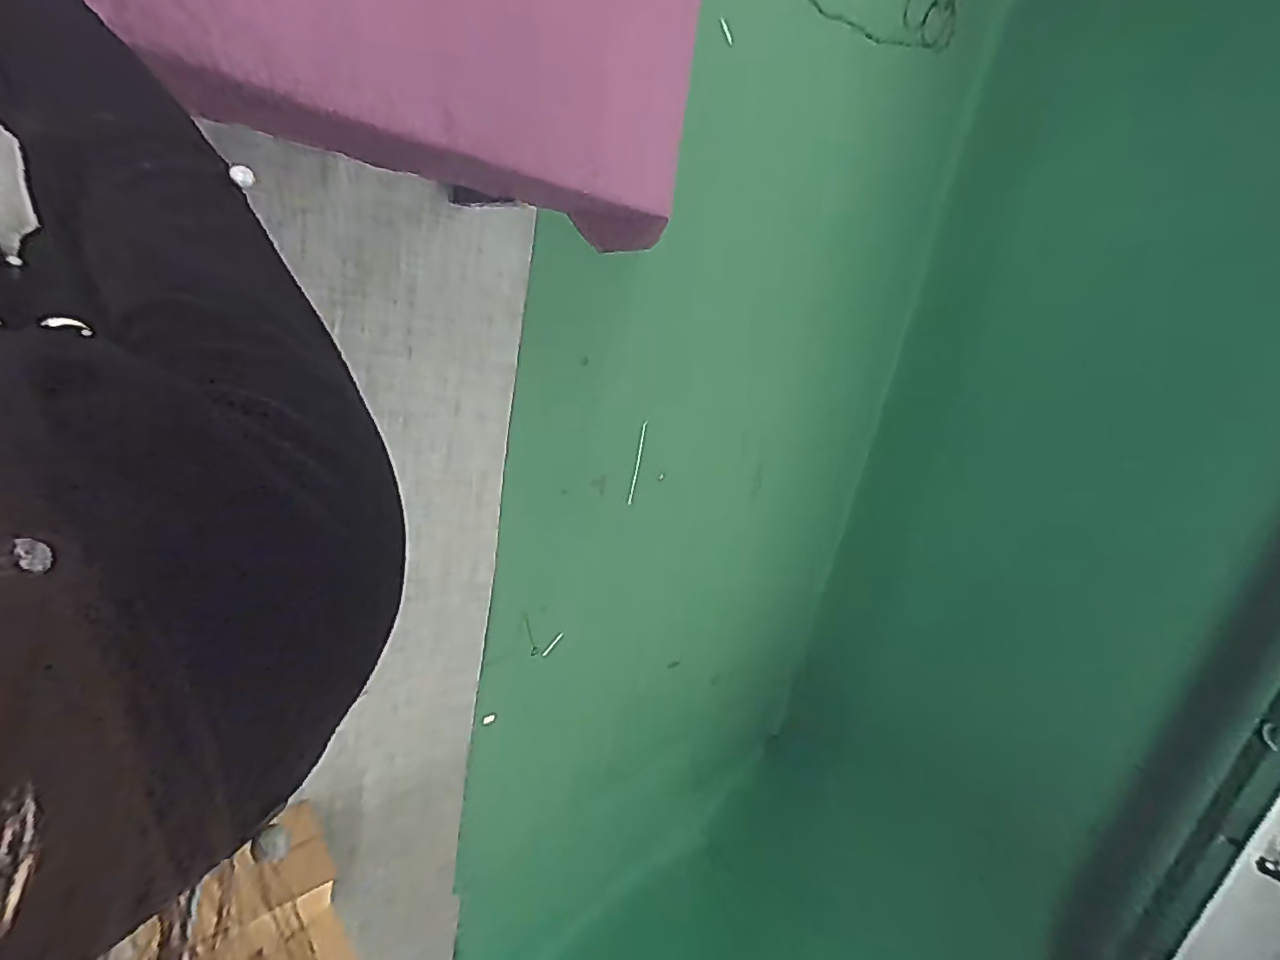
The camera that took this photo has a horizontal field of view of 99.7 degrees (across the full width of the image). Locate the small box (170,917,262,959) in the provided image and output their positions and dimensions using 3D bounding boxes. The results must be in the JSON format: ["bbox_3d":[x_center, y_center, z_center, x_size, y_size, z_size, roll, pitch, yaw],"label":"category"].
[{"bbox_3d":[-0.996,1.191,1.257,0.179,0.176,0.168,-6,115,-46],"label":"small box"}]

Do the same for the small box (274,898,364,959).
[{"bbox_3d":[-0.870,1.297,1.459,0.168,0.176,0.179,-4,115,-48],"label":"small box"}]
